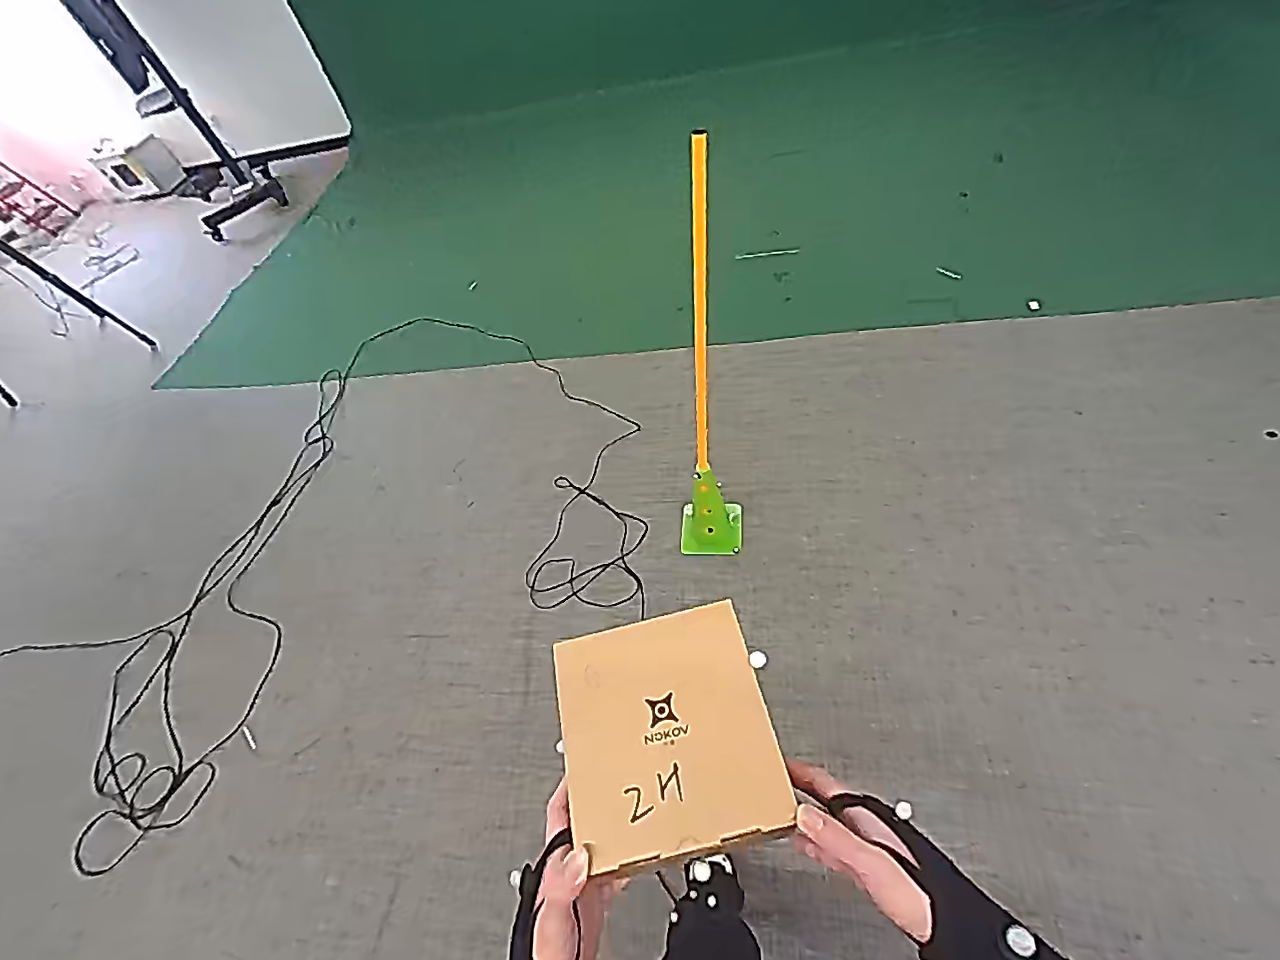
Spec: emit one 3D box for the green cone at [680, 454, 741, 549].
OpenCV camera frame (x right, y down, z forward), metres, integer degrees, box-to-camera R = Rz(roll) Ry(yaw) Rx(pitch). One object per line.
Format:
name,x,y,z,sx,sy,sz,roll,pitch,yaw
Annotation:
green cone,0.205,0.042,1.683,0.202,0.368,0.200,-2,53,13
